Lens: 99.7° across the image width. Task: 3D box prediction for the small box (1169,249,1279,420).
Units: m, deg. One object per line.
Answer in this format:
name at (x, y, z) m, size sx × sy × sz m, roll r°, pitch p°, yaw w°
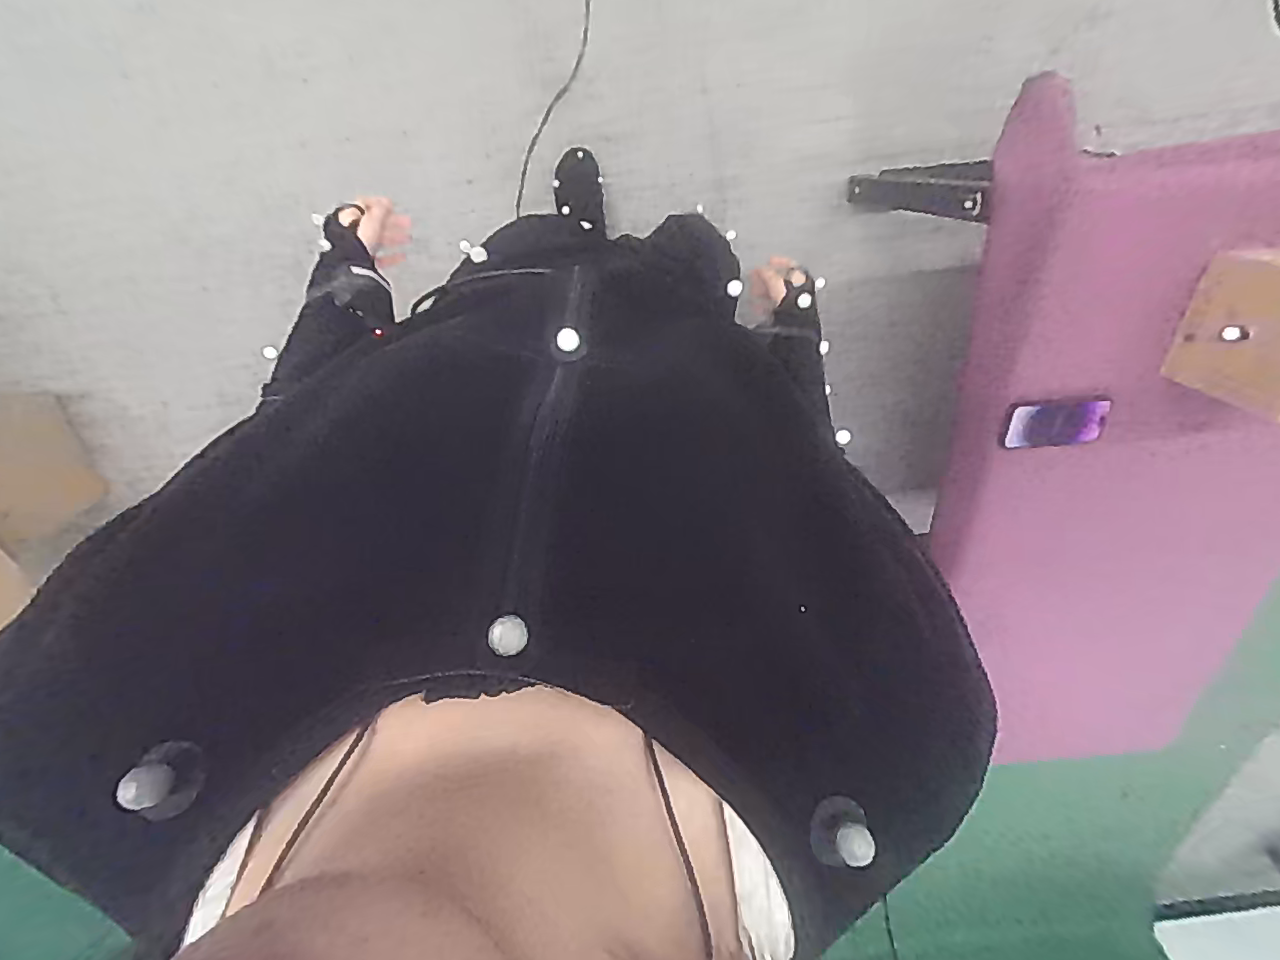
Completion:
small box at (0.820, -0.181, 0.654) m, size 0.179 × 0.176 × 0.168 m, roll -4°, pitch 121°, yaw 0°
